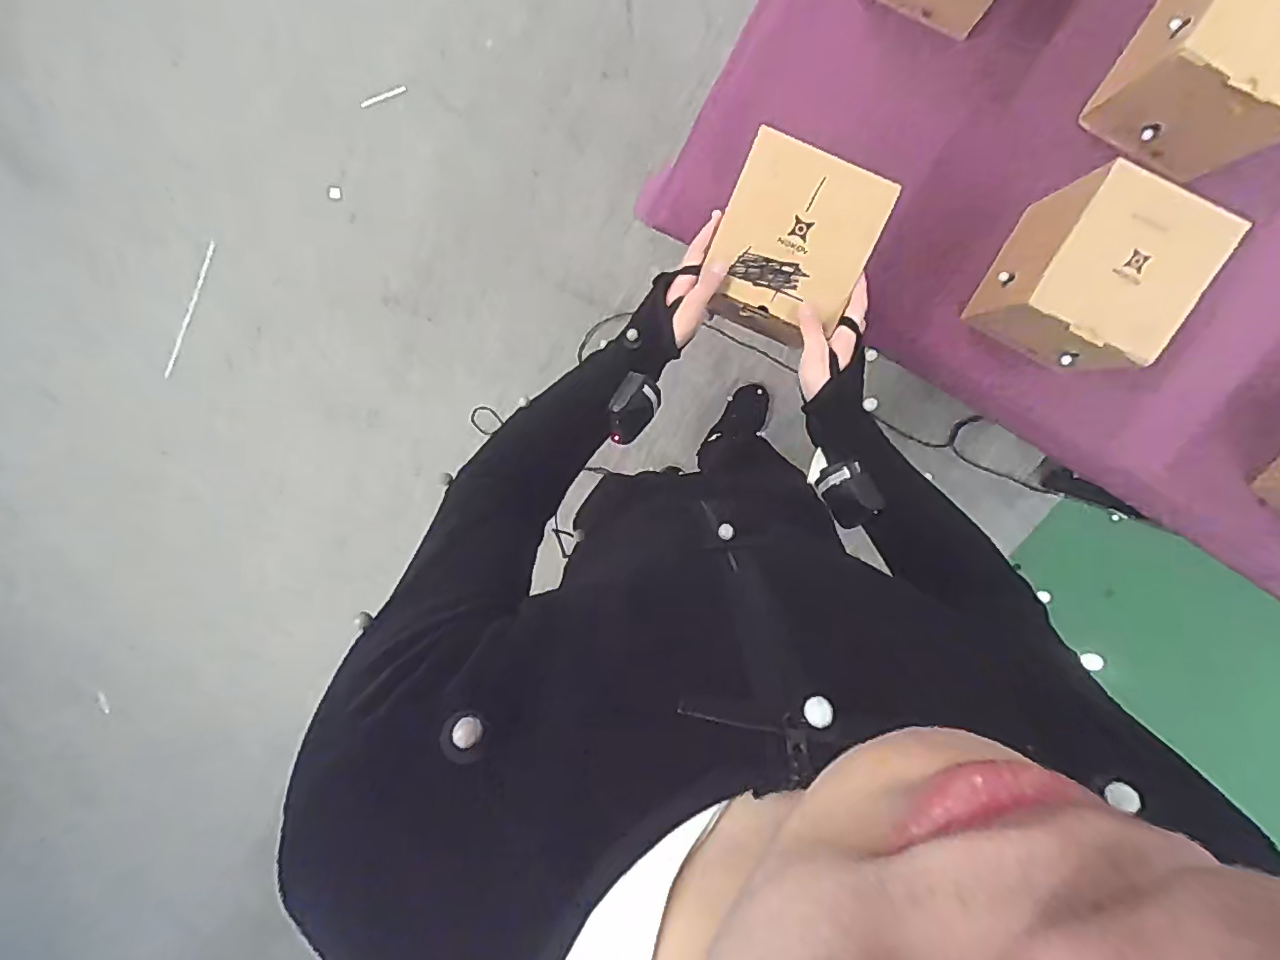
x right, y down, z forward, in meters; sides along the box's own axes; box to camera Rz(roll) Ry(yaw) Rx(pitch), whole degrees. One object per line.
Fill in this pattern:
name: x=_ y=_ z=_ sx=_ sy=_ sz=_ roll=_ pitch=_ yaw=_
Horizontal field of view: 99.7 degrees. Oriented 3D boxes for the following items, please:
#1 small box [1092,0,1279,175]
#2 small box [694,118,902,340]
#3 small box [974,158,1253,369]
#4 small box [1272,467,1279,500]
small box: x=0.688 y=-0.495 z=0.619 sx=0.168 sy=0.176 sz=0.179 roll=30 pitch=104 yaw=1
small box: x=0.175 y=-0.283 z=0.658 sx=0.168 sy=0.176 sz=0.179 roll=24 pitch=101 yaw=-1
small box: x=0.564 y=-0.253 z=0.681 sx=0.168 sy=0.176 sz=0.179 roll=28 pitch=102 yaw=1
small box: x=0.980 y=0.007 z=0.674 sx=0.168 sy=0.176 sz=0.179 roll=36 pitch=102 yaw=0
